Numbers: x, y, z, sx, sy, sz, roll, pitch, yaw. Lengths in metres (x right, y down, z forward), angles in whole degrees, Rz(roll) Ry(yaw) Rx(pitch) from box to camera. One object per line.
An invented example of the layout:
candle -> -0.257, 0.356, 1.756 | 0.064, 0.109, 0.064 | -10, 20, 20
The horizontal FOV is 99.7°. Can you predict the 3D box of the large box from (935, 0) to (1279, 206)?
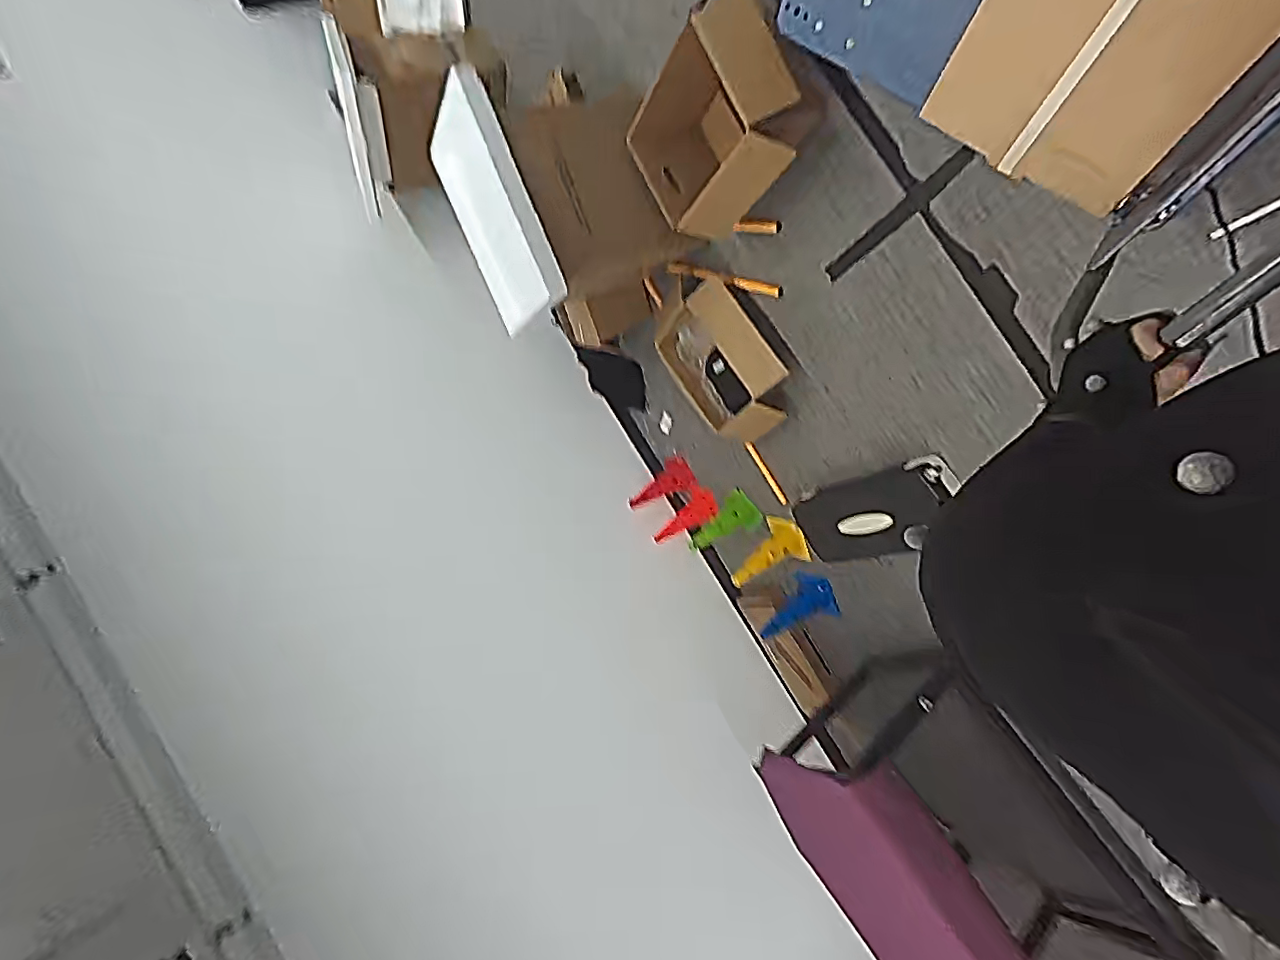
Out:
large box -> 0.691, -0.661, 0.703 | 0.320, 0.320, 0.408 | 42, 150, 16
